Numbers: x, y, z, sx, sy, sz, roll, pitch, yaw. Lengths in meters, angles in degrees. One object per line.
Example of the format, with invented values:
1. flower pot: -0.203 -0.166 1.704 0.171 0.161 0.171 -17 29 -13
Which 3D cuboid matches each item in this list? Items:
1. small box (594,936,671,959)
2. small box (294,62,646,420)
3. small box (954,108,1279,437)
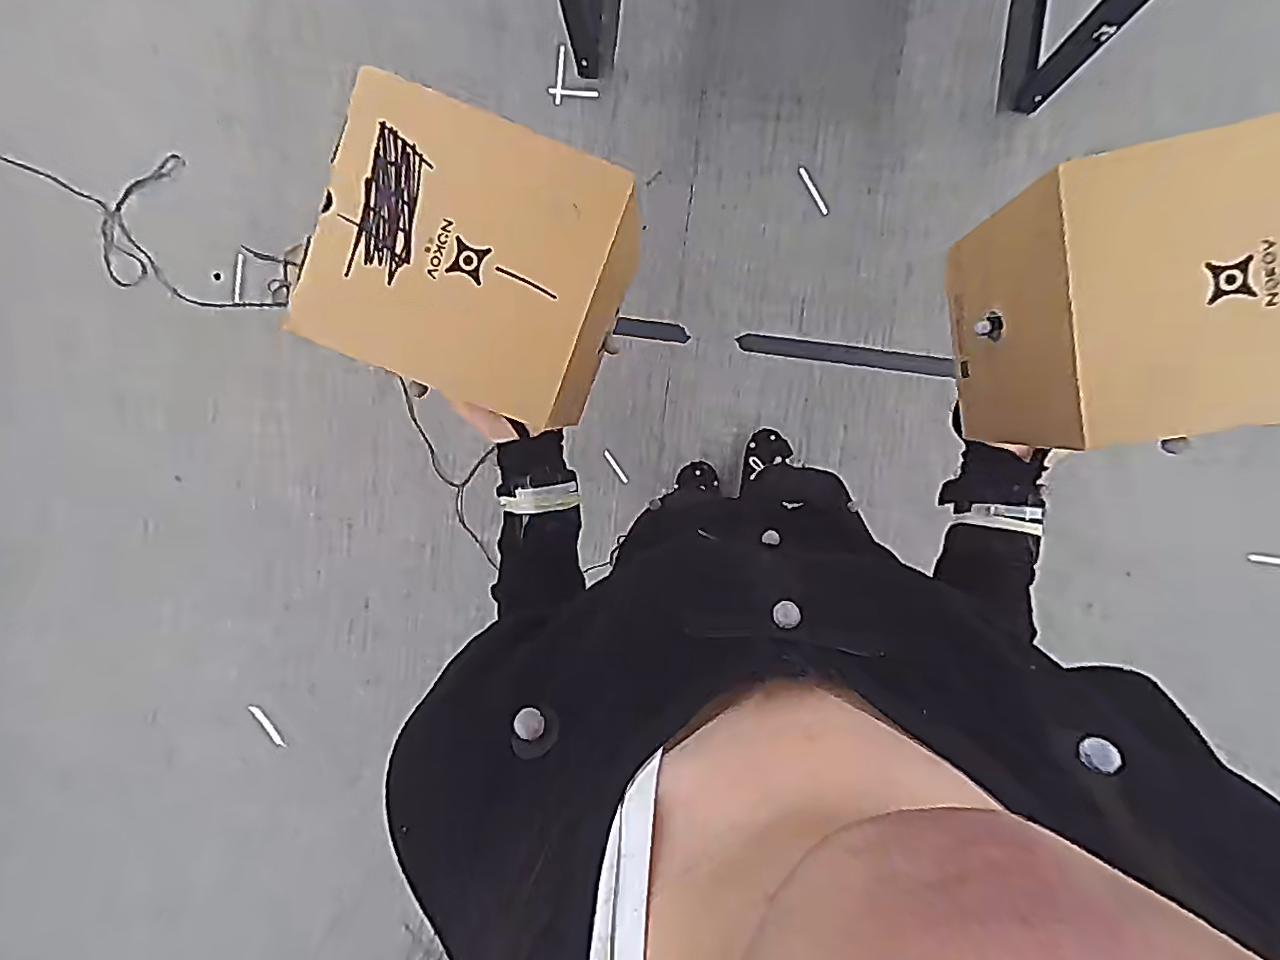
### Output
1. small box: -0.023 1.022 1.017 0.168 0.176 0.179 12 94 3
2. small box: -0.105 -0.150 0.407 0.179 0.176 0.168 21 97 -3
3. small box: 0.343 -0.124 0.377 0.179 0.176 0.168 -9 96 9
